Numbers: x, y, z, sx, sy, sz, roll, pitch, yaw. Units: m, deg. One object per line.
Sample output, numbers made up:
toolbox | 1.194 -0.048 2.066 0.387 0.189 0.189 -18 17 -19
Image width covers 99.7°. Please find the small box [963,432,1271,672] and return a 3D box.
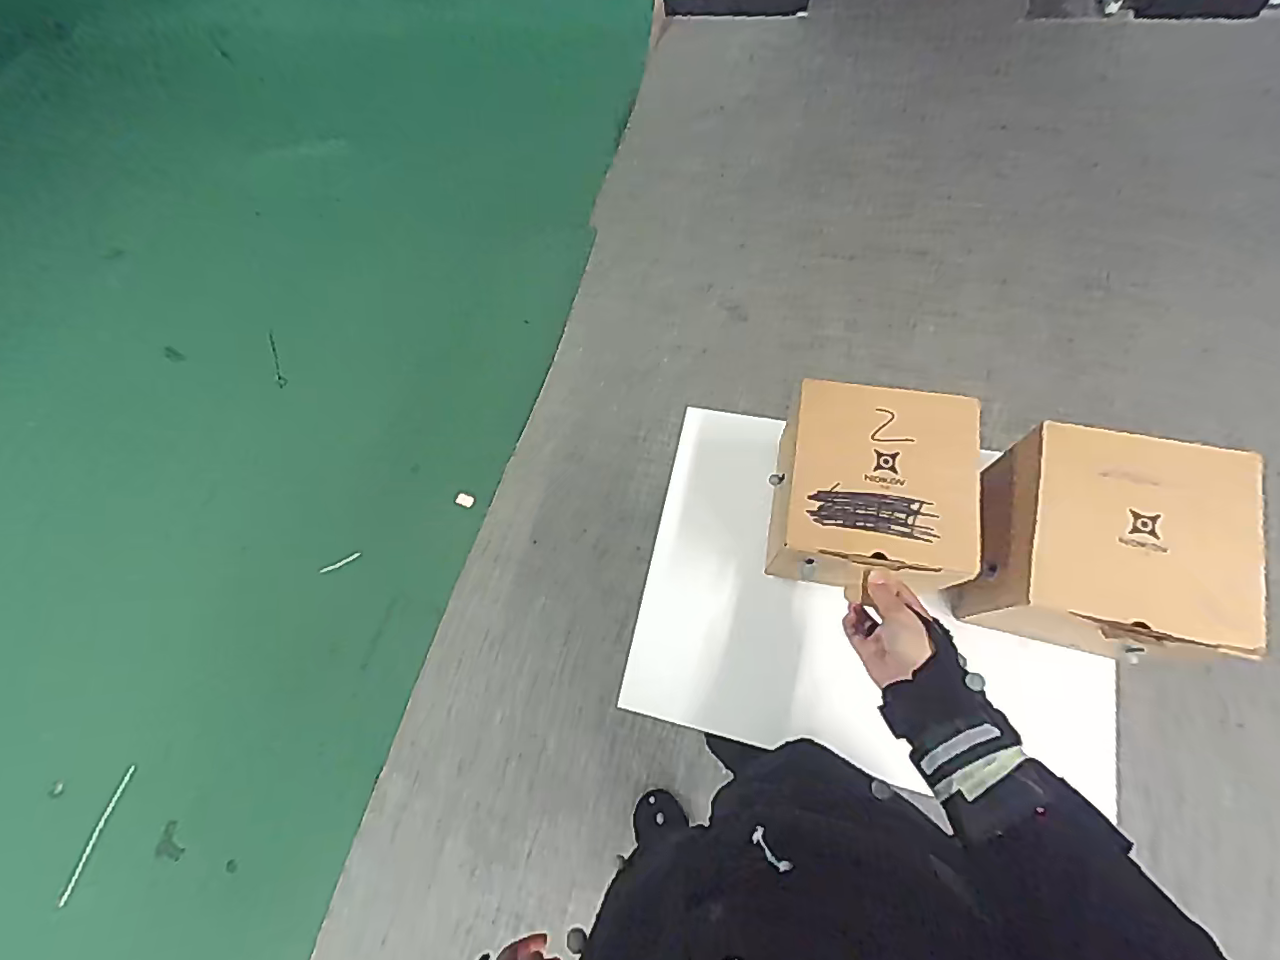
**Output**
small box | 0.438 0.078 0.527 0.168 0.176 0.179 12 73 14
